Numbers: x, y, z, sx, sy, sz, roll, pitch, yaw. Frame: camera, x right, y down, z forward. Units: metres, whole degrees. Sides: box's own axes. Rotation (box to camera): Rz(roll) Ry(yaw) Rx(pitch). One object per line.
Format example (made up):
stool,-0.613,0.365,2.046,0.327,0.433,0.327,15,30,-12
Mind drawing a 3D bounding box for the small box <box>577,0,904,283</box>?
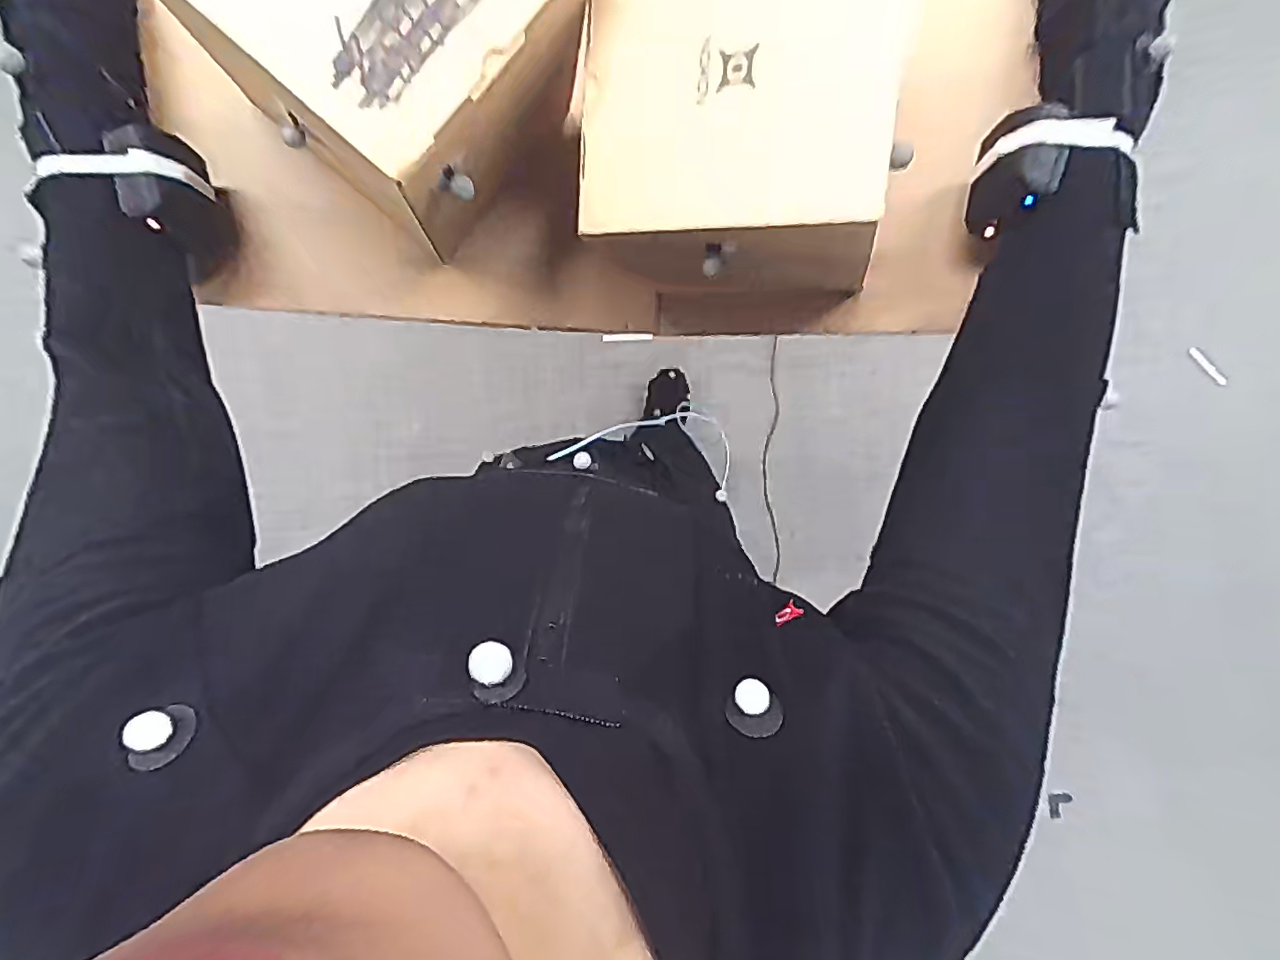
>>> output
small box,0.074,-0.240,0.373,0.179,0.176,0.168,8,99,20
